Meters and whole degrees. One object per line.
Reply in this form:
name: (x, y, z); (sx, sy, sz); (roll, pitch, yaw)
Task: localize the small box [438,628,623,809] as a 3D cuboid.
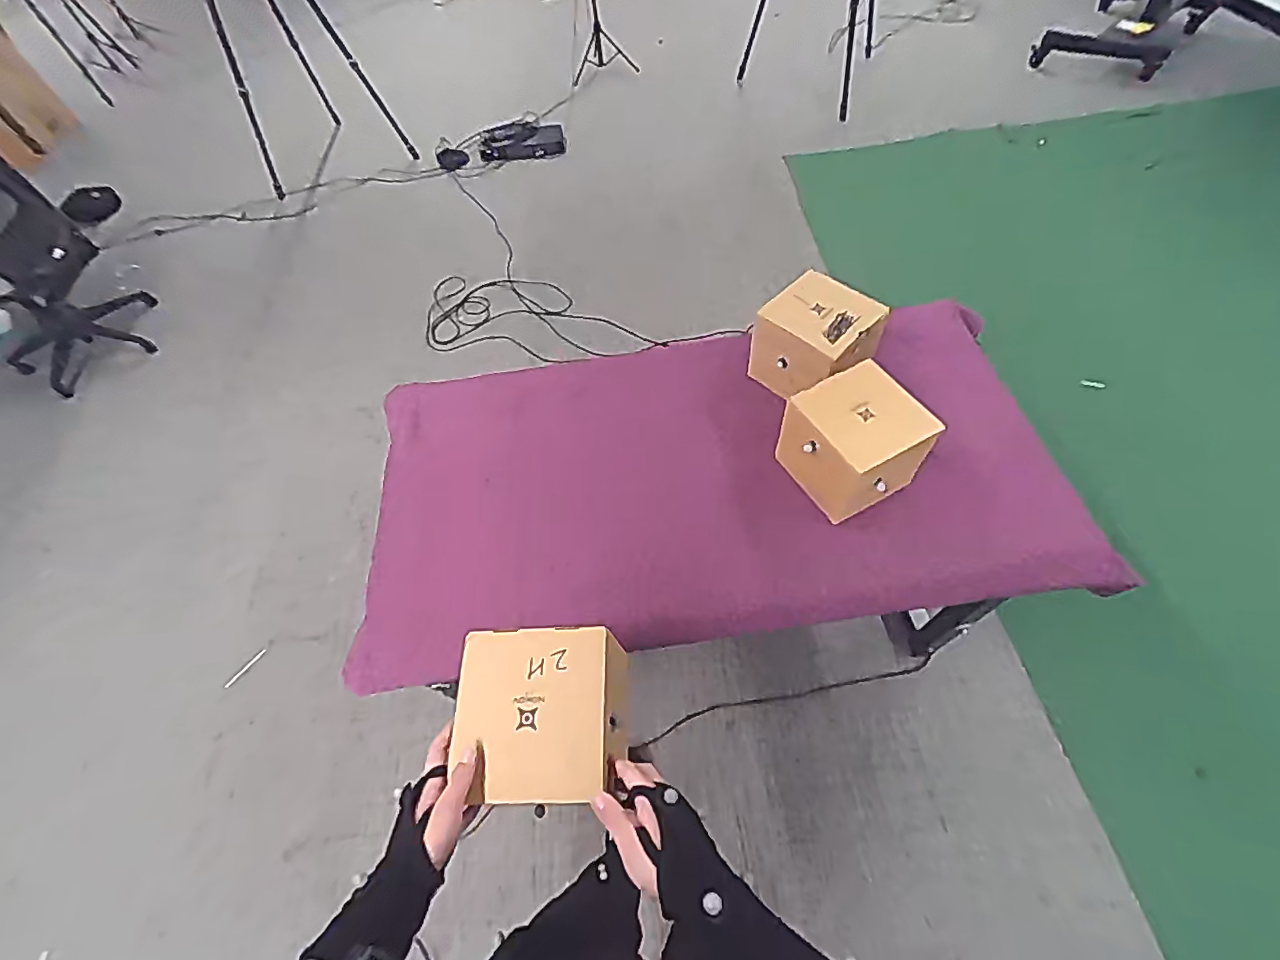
small box: (-0.112, 0.283, 0.641); (0.168, 0.176, 0.179); (-3, 61, 6)

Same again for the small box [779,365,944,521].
small box: (0.357, -0.052, 0.908); (0.168, 0.176, 0.179); (-26, 58, -11)

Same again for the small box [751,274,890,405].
small box: (0.333, -0.249, 1.031); (0.168, 0.176, 0.179); (-39, 62, -18)
